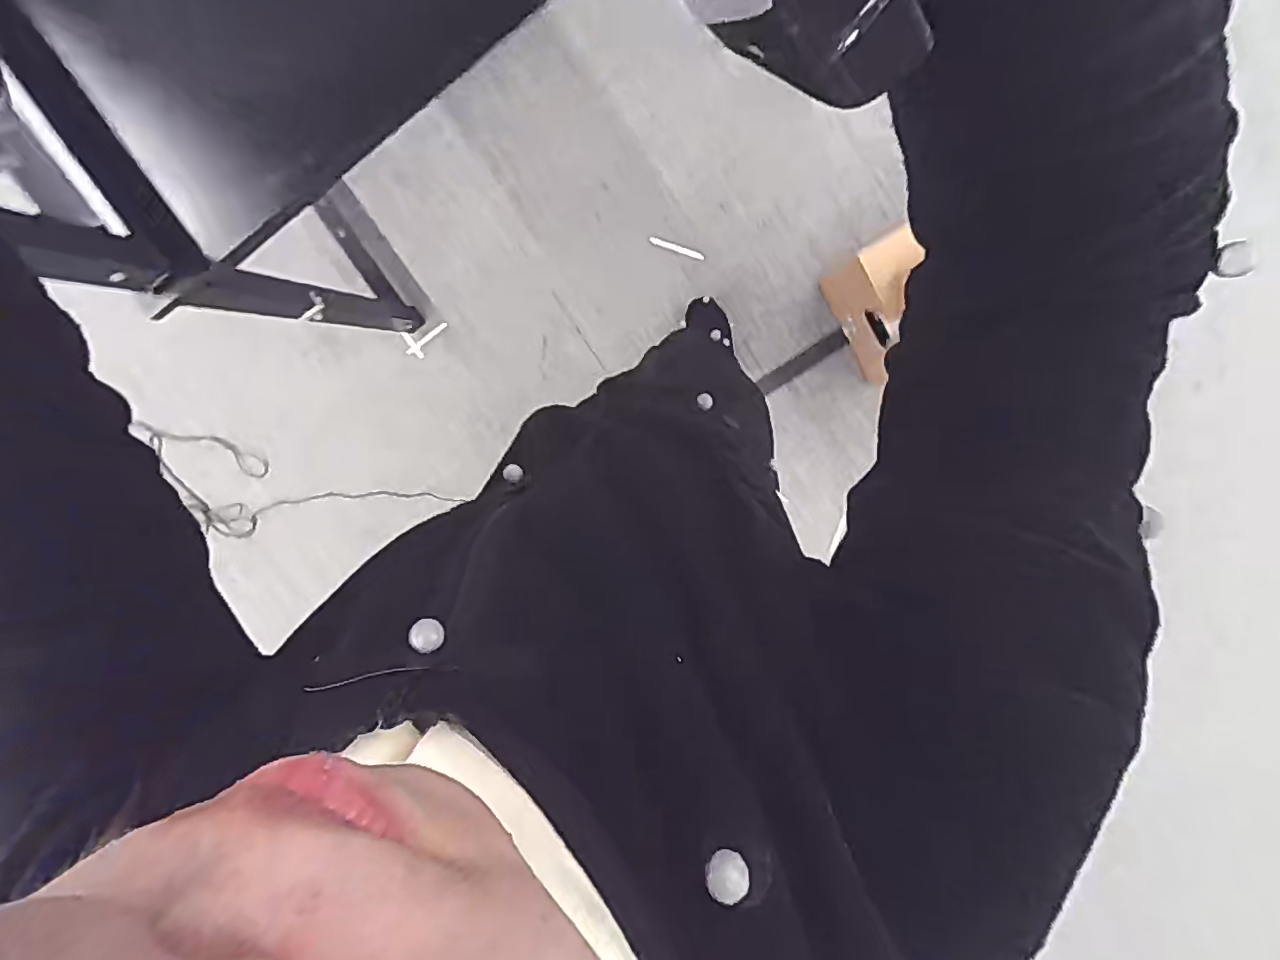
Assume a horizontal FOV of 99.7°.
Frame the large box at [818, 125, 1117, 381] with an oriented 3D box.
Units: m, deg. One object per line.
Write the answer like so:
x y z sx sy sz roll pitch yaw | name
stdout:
0.672 -0.451 1.183 0.408 0.320 0.320 -30 99 9 | large box
